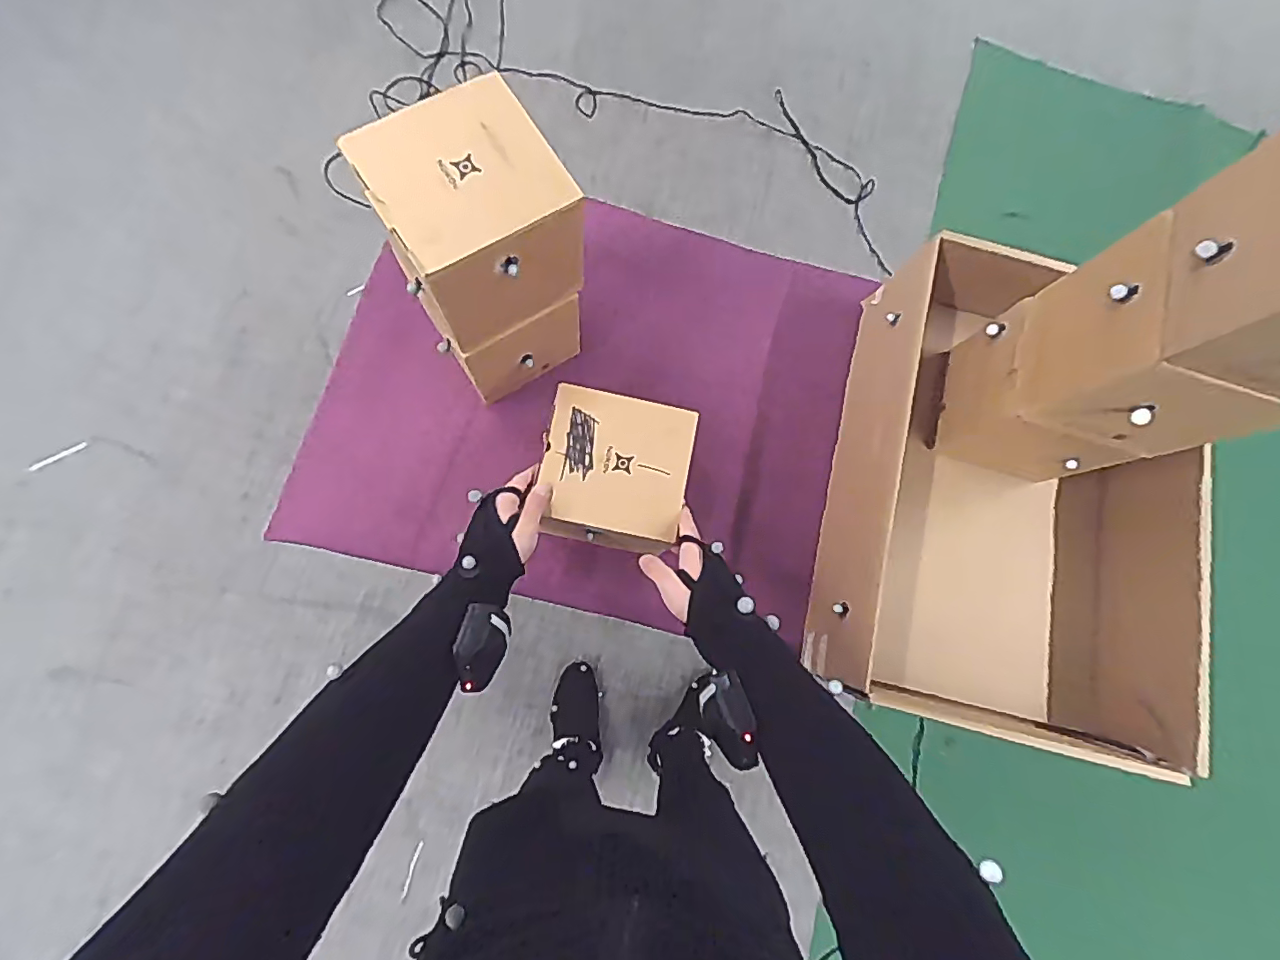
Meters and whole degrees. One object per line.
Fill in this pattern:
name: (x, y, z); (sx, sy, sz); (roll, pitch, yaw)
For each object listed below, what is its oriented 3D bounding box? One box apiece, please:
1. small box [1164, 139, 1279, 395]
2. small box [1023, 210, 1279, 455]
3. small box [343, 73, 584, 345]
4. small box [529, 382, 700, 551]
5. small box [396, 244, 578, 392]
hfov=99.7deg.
small box: (0.571, -0.175, 0.422); (0.168, 0.176, 0.179); (17, 79, -1)
small box: (0.556, -0.141, 0.582); (0.168, 0.176, 0.179); (17, 78, -1)
small box: (-0.174, -0.278, 0.591); (0.179, 0.176, 0.168); (-32, 84, -11)
small box: (-0.035, -0.006, 0.713); (0.179, 0.176, 0.168); (12, 76, -3)
small box: (-0.197, -0.243, 0.749); (0.168, 0.176, 0.179); (-32, 83, -12)
